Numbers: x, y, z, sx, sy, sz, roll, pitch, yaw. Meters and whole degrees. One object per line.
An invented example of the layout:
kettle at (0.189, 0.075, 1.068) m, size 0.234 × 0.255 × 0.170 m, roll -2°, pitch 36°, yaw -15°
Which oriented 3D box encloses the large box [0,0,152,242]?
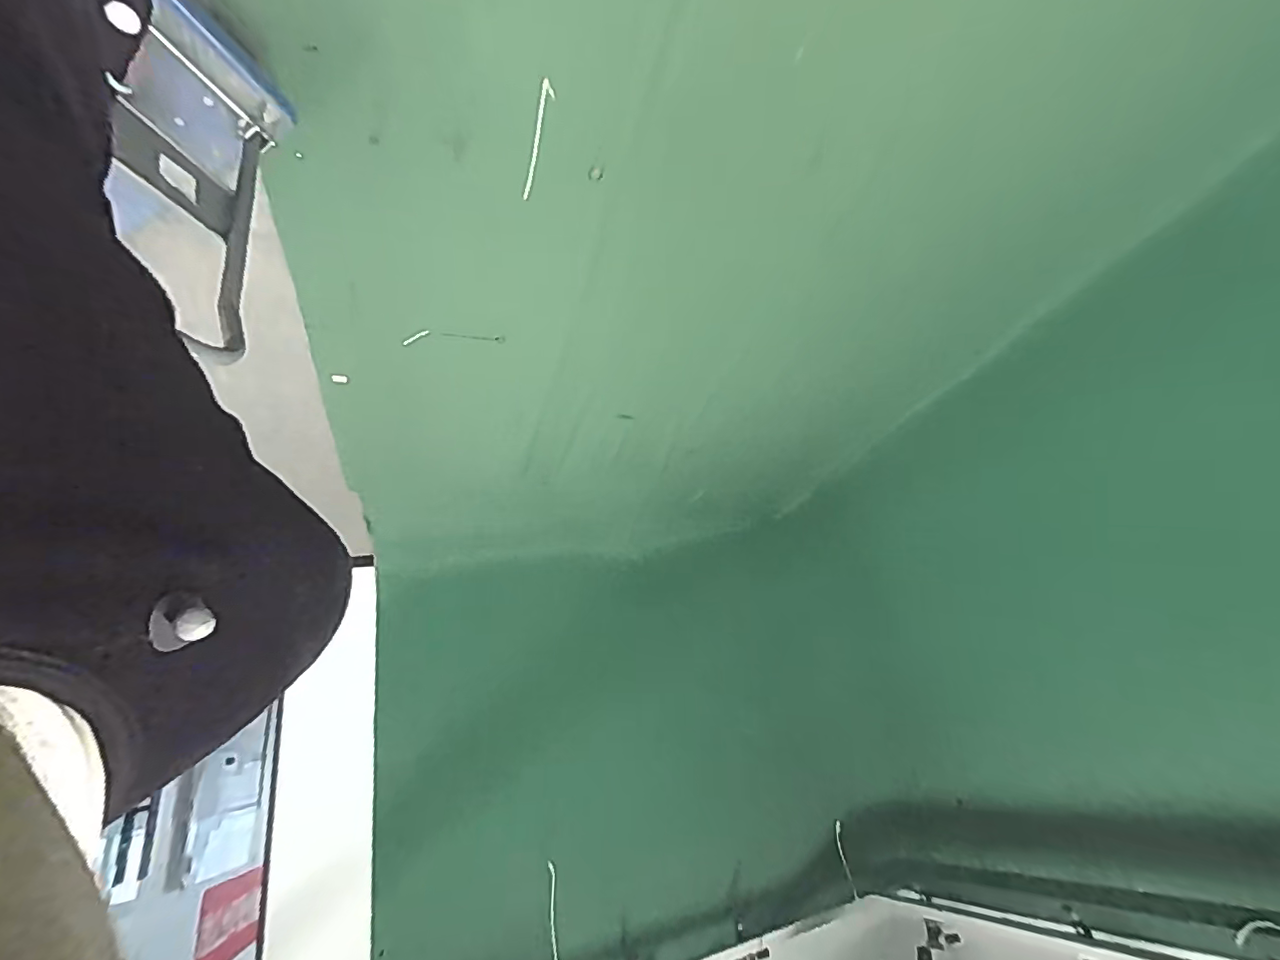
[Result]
large box at (-1.058, -0.625, 0.813) m, size 0.408 × 0.320 × 0.320 m, roll -19°, pitch 153°, yaw 15°
